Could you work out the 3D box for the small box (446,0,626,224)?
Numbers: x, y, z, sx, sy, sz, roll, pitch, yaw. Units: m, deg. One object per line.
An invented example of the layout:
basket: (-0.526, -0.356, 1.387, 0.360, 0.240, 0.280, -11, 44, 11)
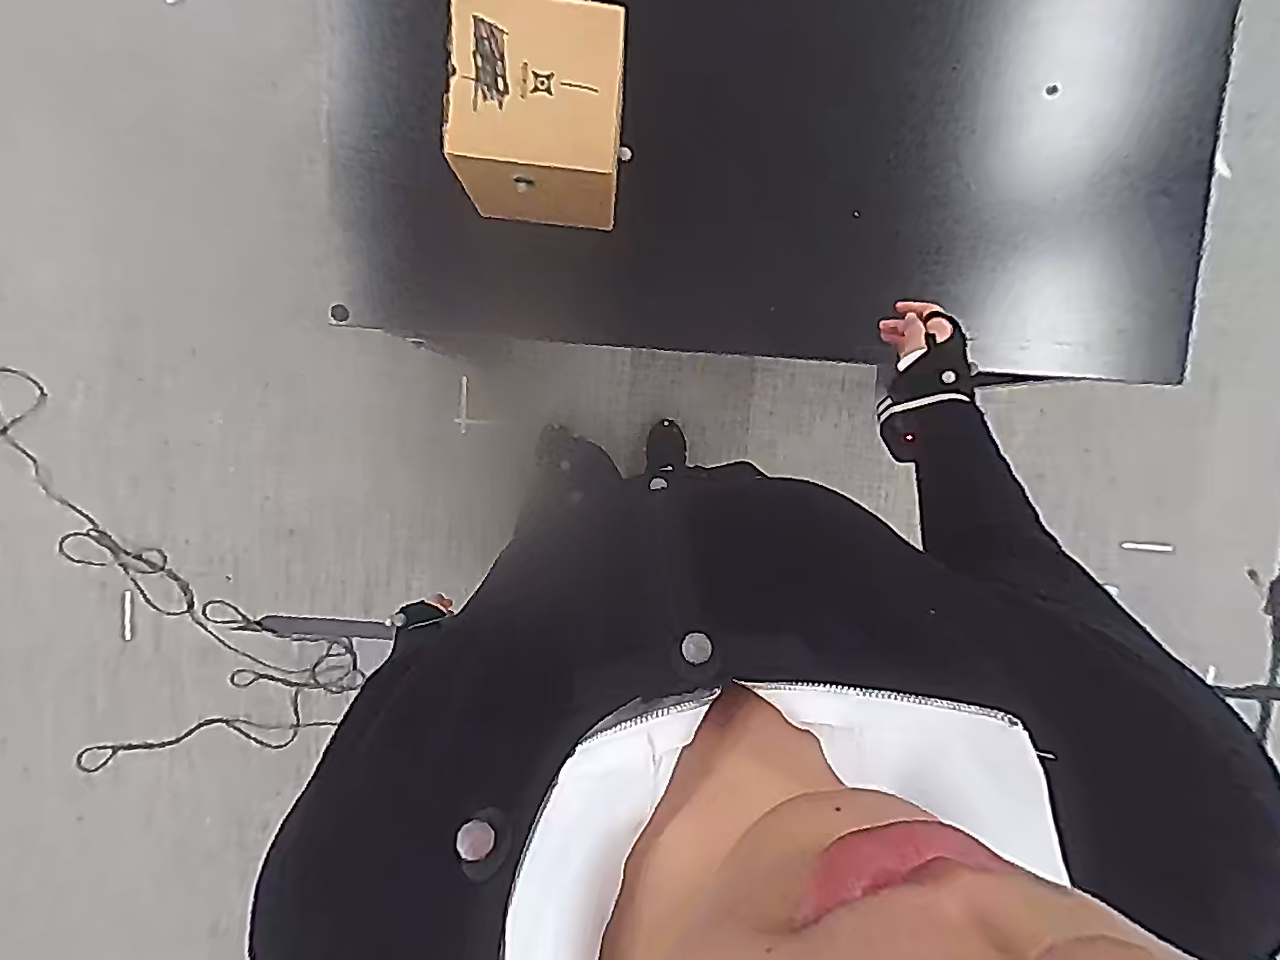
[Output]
small box: (-0.112, -0.420, 0.636, 0.179, 0.176, 0.168, 5, 95, -4)
